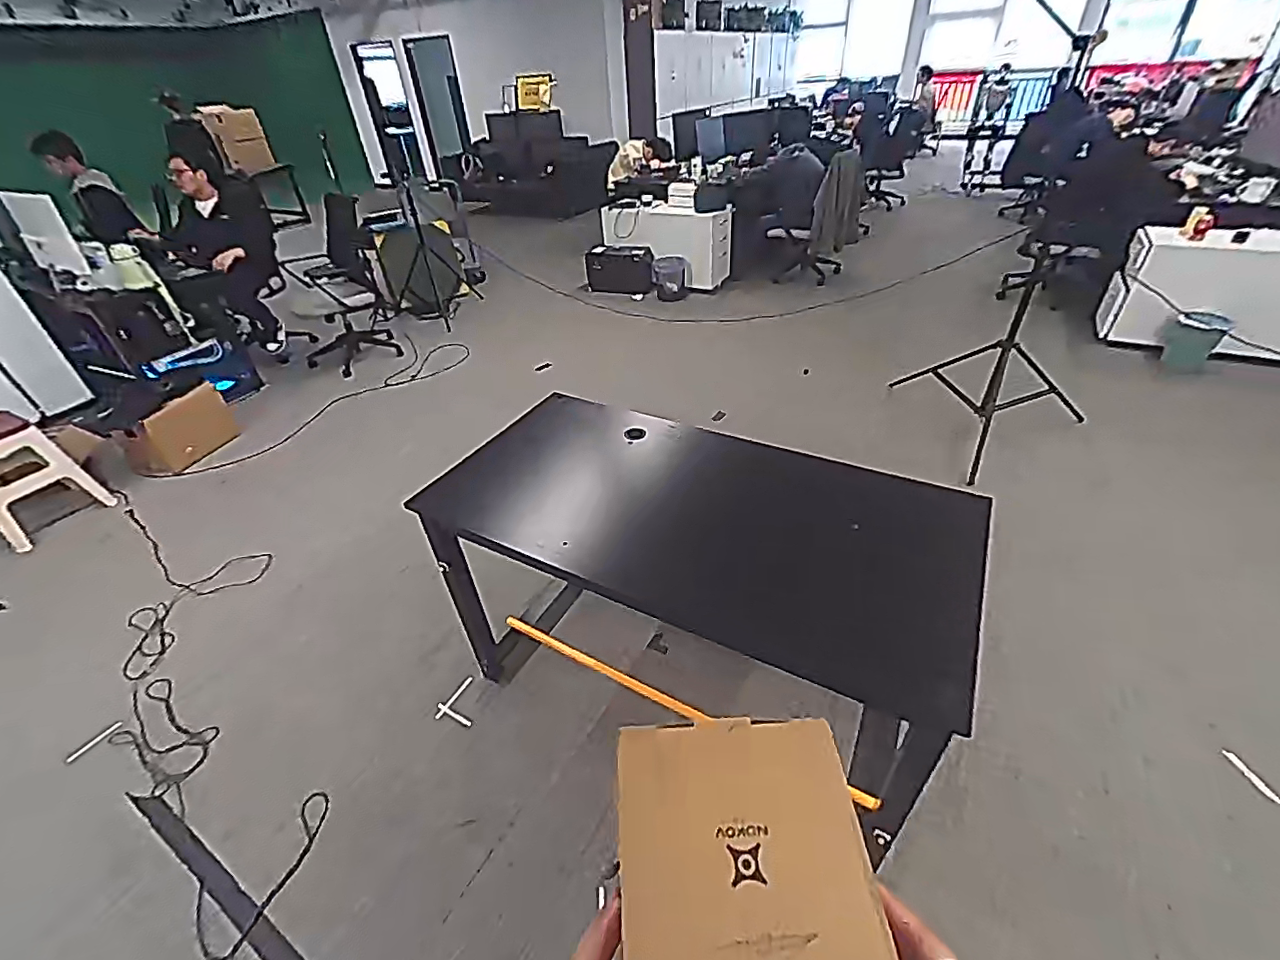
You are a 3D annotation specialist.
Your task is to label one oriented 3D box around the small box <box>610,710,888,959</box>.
[{"bbox_3d":[0.060,0.299,0.418,0.168,0.176,0.179,-1,46,-4],"label":"small box"}]
